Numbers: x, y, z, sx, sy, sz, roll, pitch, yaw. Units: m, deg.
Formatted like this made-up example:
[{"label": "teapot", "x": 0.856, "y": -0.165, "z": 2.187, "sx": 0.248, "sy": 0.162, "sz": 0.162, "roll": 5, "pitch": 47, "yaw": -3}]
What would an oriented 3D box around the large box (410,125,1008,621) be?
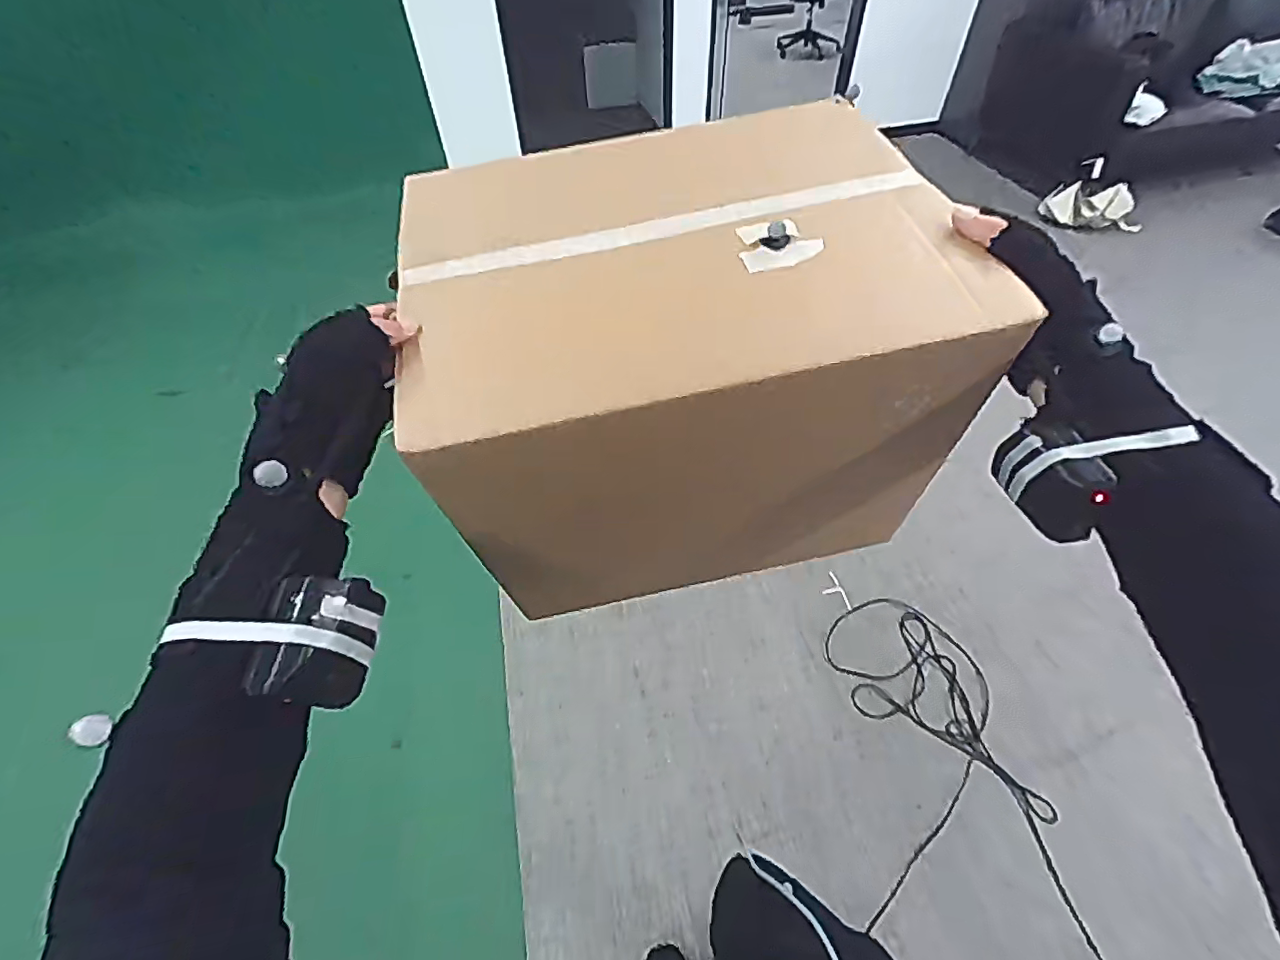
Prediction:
[{"label": "large box", "x": 0.029, "y": -0.093, "z": 0.546, "sx": 0.408, "sy": 0.320, "sz": 0.320, "roll": -12, "pitch": 57, "yaw": -3}]
